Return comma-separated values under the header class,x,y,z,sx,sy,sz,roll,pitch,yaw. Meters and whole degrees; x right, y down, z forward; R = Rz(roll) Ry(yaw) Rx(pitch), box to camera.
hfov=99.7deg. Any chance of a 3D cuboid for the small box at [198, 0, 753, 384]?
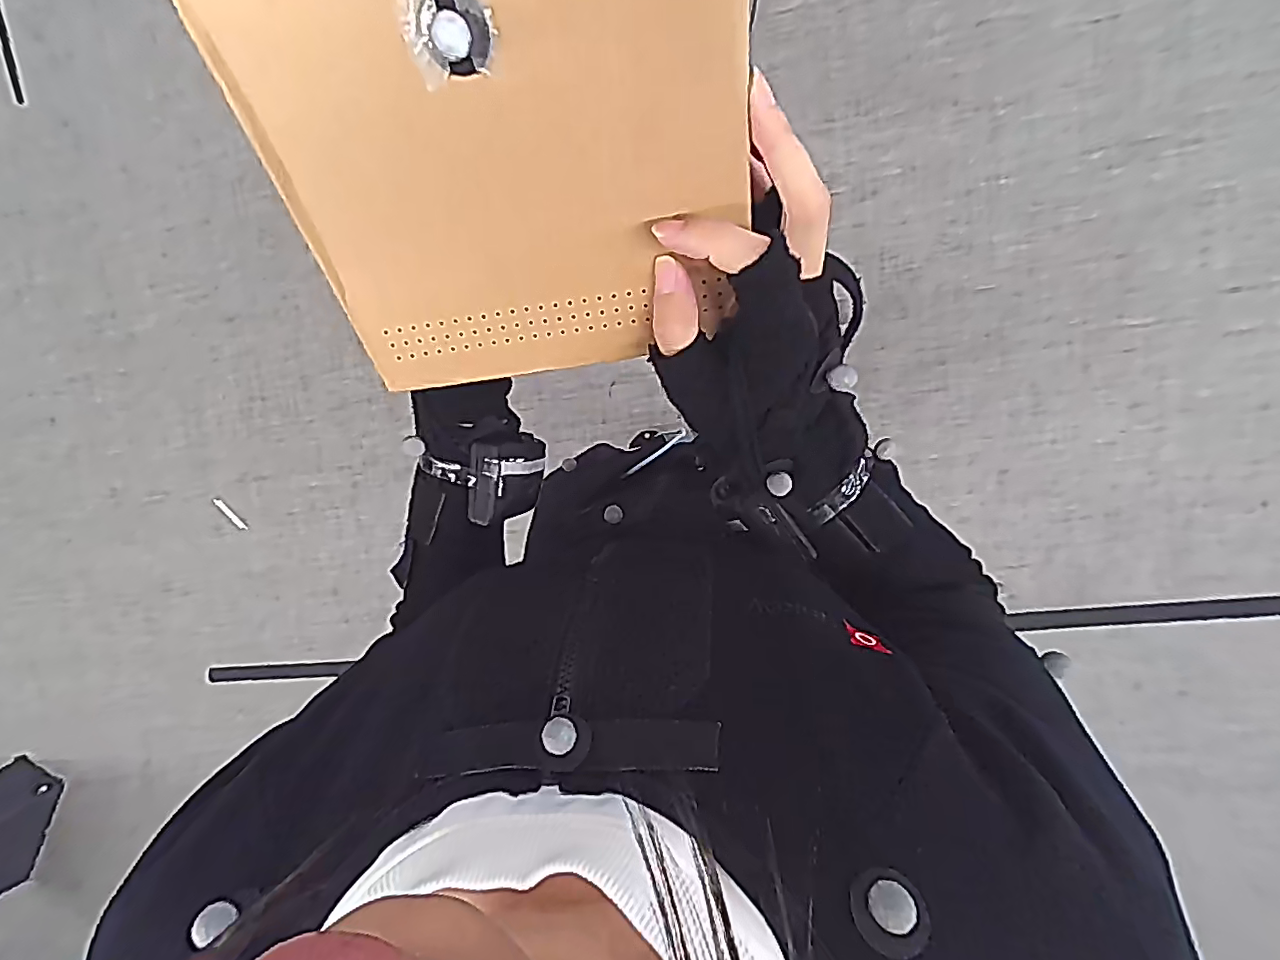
class,x,y,z,sx,sy,sz,roll,pitch,yaw
small box,-0.045,-0.162,0.261,0.179,0.168,0.176,-7,134,5
